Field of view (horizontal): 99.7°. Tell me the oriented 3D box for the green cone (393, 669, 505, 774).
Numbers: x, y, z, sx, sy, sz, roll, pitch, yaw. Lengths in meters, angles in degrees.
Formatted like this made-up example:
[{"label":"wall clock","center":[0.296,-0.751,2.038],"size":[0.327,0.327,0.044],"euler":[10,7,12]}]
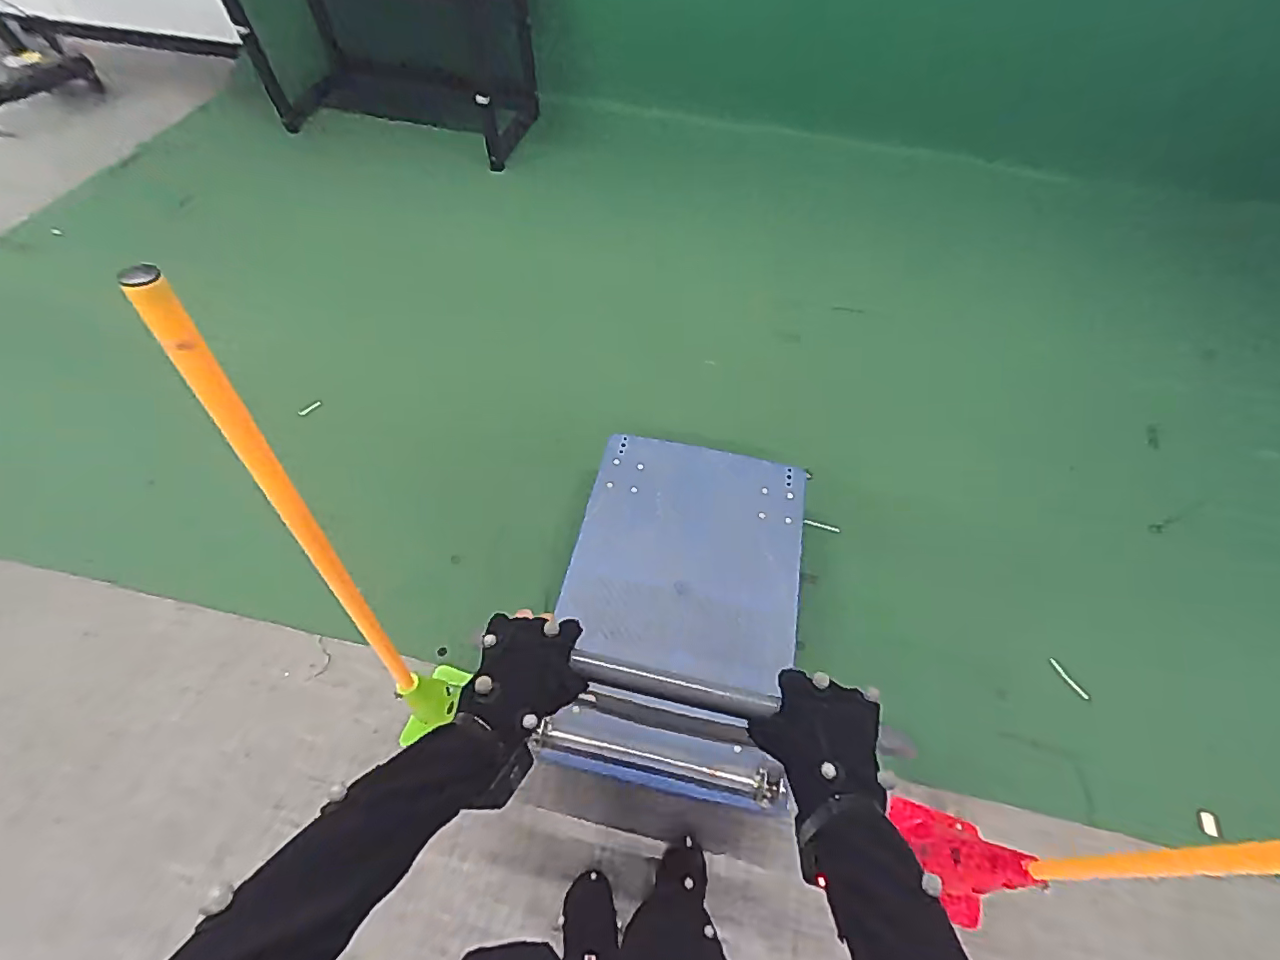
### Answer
[{"label":"green cone","center":[-0.451,0.488,1.181],"size":[0.202,0.368,0.200],"euler":[16,57,9]}]
